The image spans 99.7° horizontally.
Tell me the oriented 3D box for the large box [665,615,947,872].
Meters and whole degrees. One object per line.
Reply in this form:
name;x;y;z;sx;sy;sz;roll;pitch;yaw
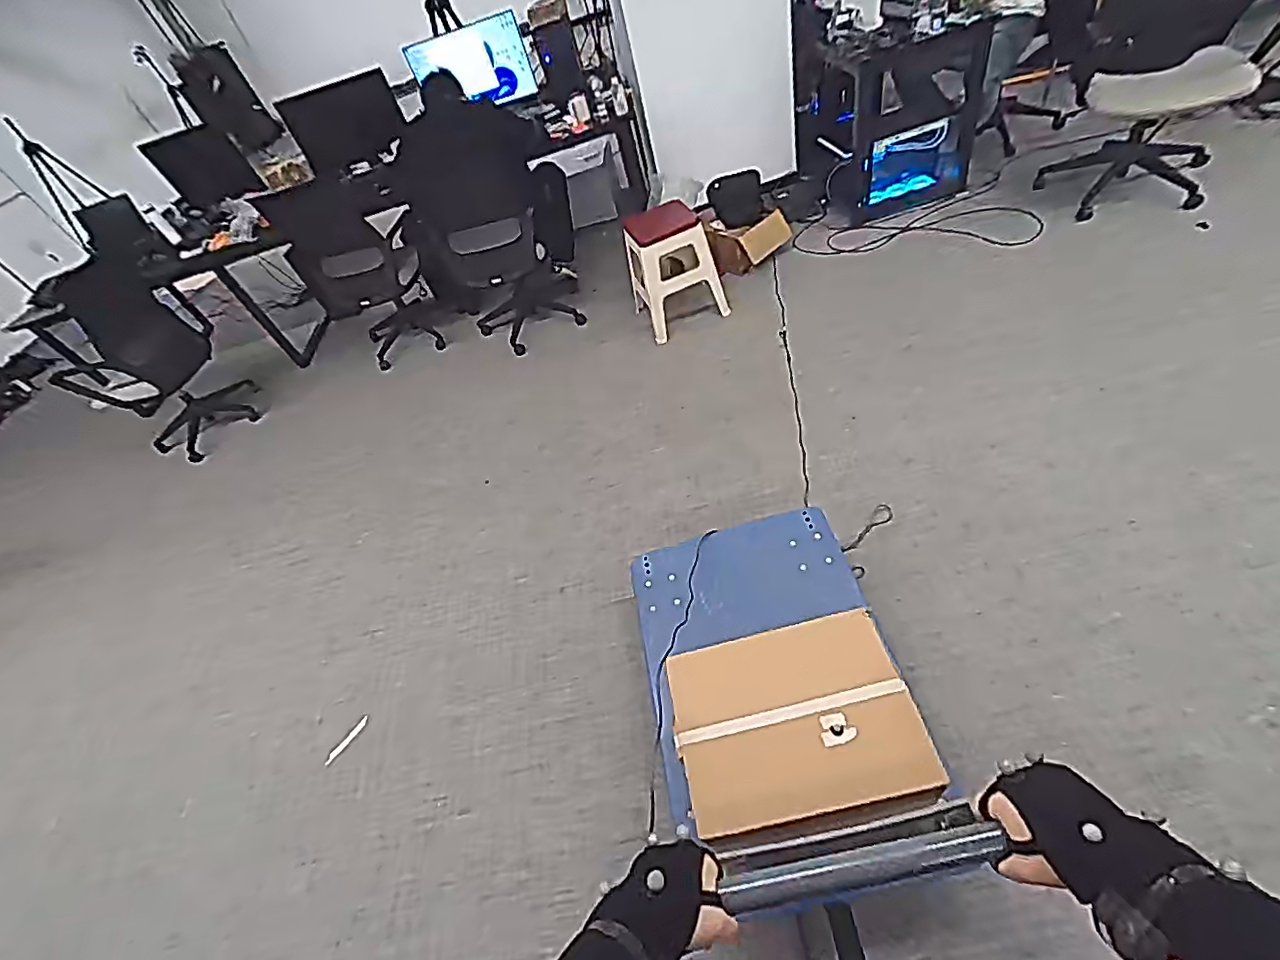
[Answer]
large box;0.294;0.516;1.047;0.408;0.320;0.320;-16;48;4
